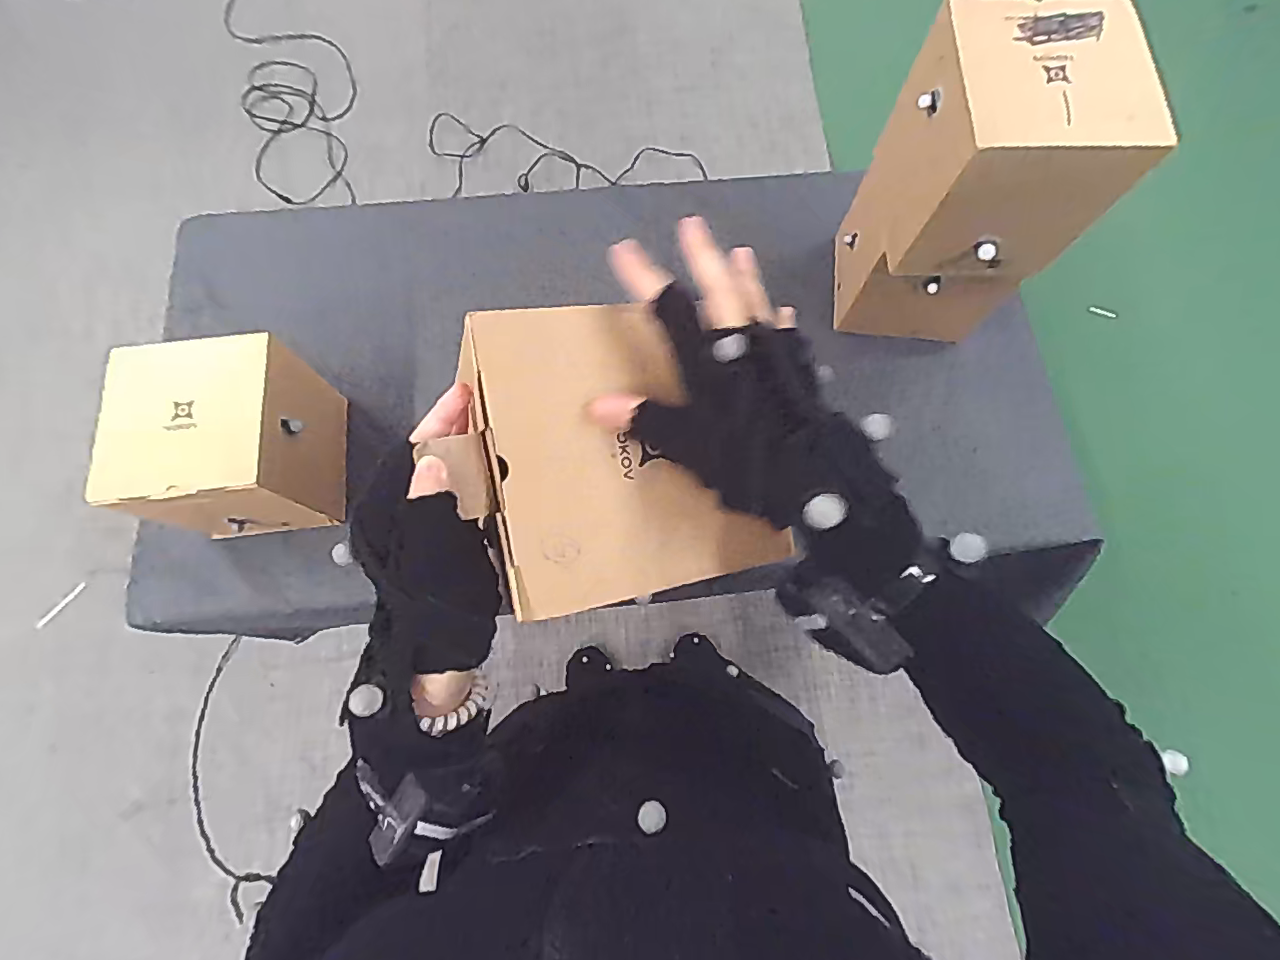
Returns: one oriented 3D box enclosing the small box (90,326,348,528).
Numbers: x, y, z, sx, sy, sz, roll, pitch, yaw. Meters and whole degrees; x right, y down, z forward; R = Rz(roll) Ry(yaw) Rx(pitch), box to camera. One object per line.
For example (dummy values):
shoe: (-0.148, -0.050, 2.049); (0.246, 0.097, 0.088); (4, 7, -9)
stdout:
small box: (-0.463, -0.053, 0.629); (0.168, 0.176, 0.179); (-7, 74, -2)

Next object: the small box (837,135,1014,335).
small box: (0.368, -0.306, 0.700); (0.179, 0.176, 0.168); (7, 75, 2)

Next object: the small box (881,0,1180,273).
small box: (0.358, -0.334, 0.538); (0.168, 0.176, 0.179); (1, 75, 1)
